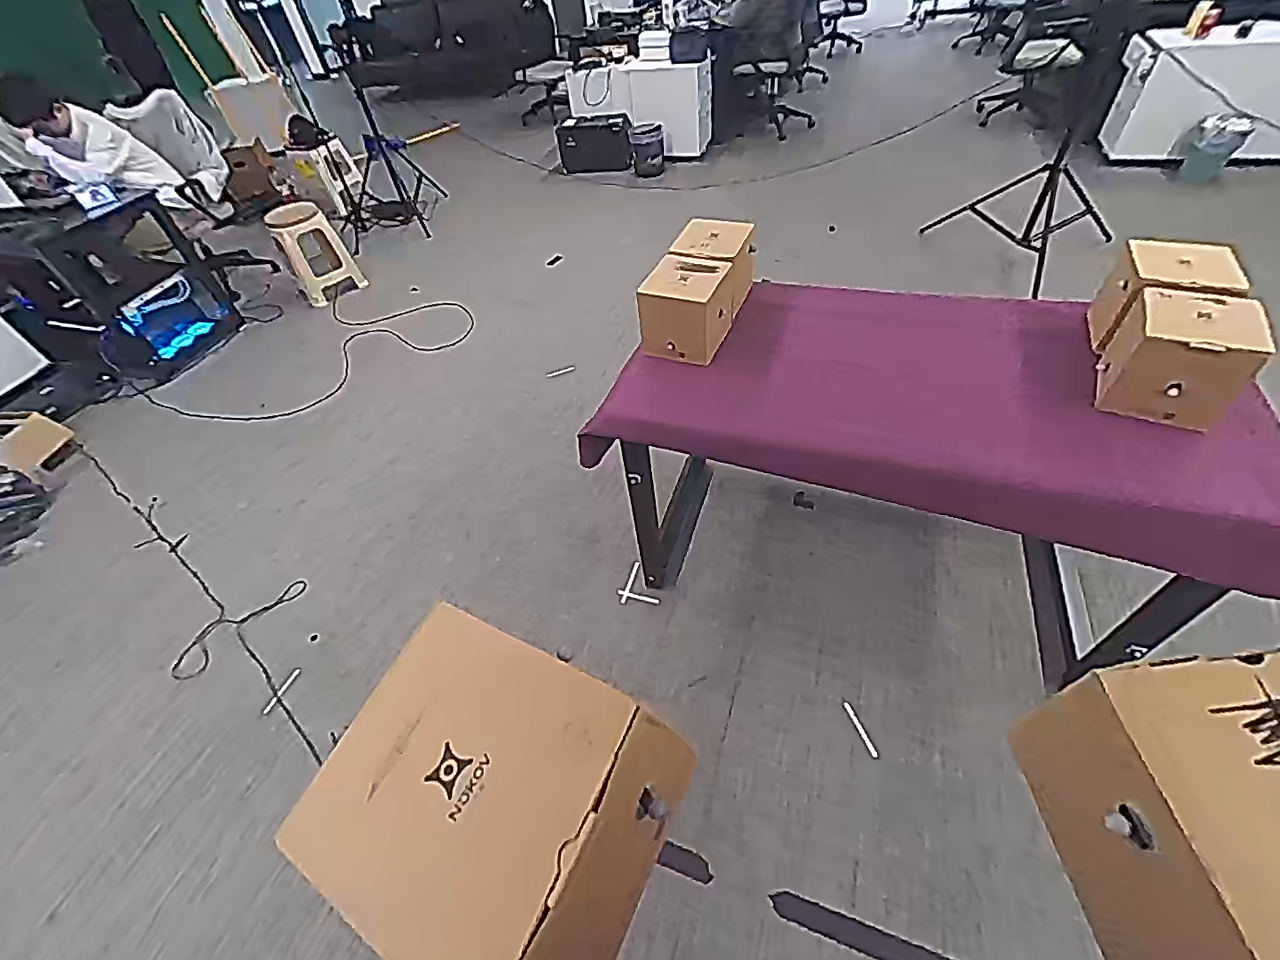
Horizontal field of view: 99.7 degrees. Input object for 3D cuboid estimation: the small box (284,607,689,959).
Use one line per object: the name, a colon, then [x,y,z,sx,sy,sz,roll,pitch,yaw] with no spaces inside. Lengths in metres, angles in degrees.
small box: [-0.083,0.219,0.379,0.179,0.176,0.168,15,61,28]

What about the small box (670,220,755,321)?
small box: [0.183,-0.529,1.366,0.168,0.176,0.179,15,53,20]

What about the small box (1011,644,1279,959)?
small box: [0.367,0.214,0.325,0.168,0.176,0.179,-11,53,8]

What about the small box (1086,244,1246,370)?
small box: [1.042,-0.351,1.093,0.168,0.176,0.179,15,51,19]
